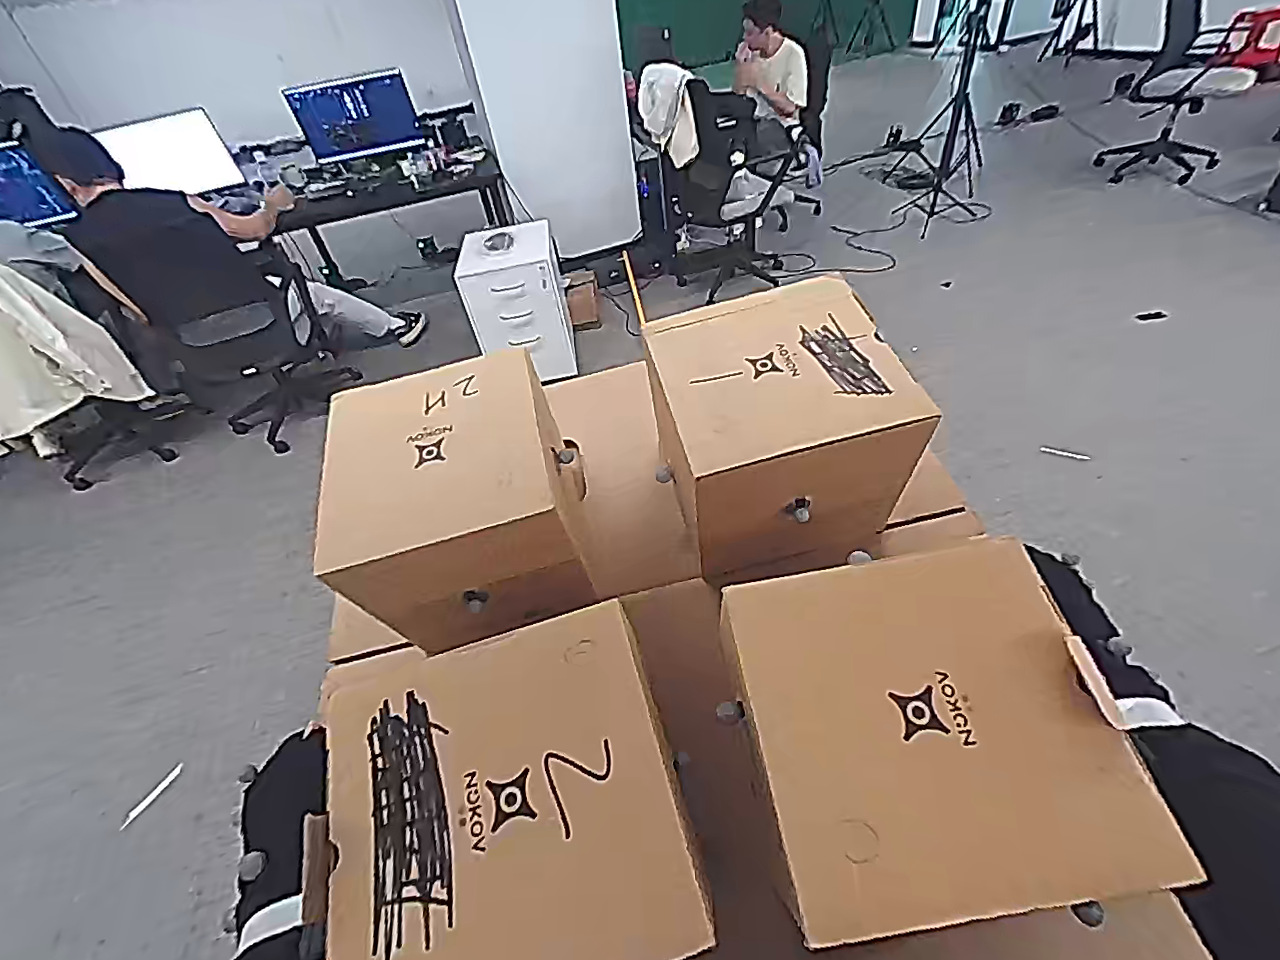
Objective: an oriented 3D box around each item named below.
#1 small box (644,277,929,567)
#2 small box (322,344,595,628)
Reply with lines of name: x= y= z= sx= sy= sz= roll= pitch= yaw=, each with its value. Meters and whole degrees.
small box: x=0.111 y=-0.043 z=0.479 sx=0.179 sy=0.176 sz=0.168 roll=-14 pitch=55 yaw=0
small box: x=-0.145 y=0.016 z=0.480 sx=0.168 sy=0.176 sz=0.179 roll=-15 pitch=54 yaw=-2
